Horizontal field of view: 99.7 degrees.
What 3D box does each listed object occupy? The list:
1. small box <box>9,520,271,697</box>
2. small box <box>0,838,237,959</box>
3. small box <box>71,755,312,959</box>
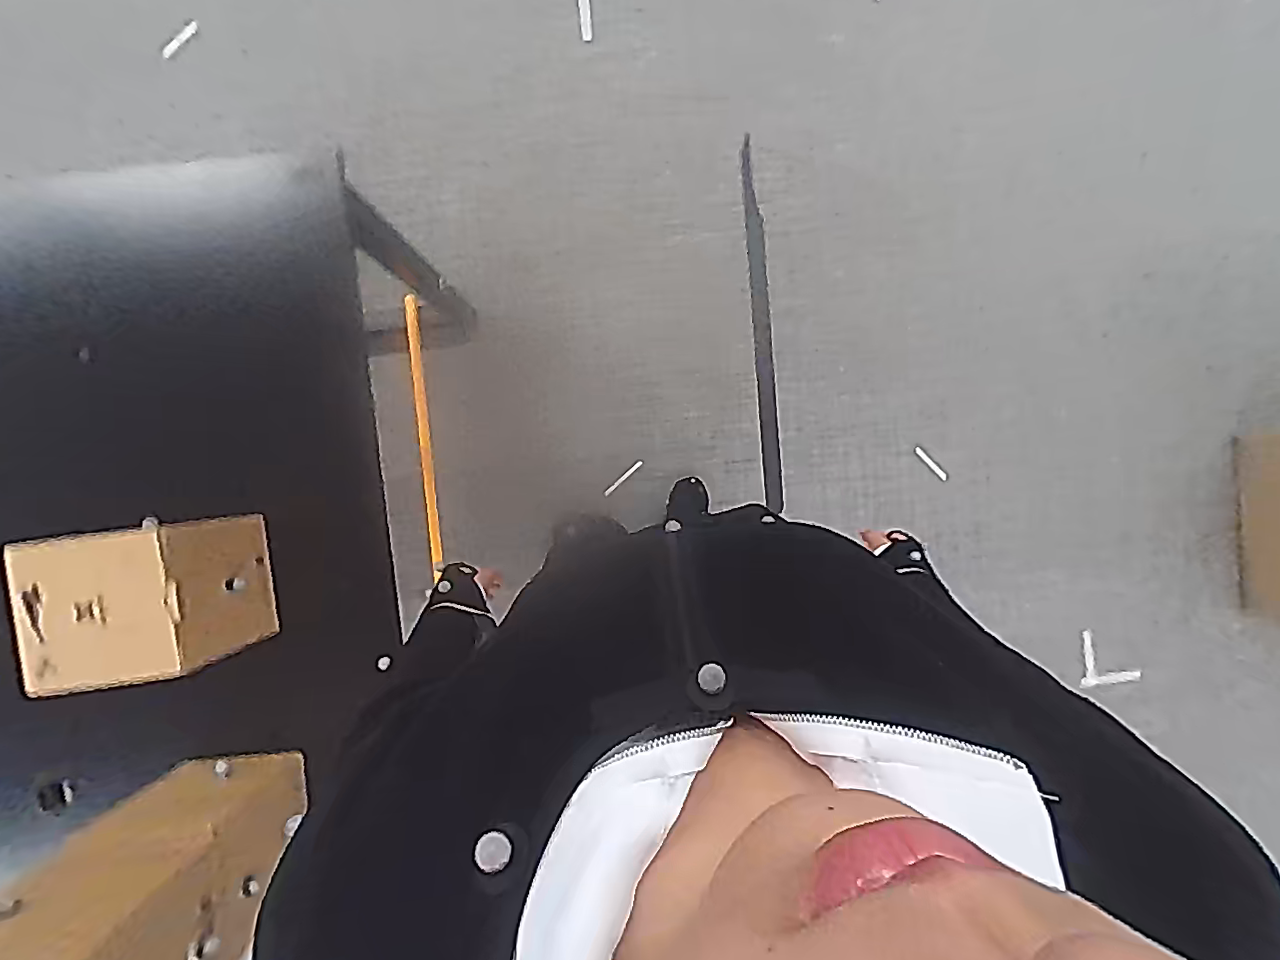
[{"bbox_3d":[-0.599,0.147,0.678,0.179,0.176,0.168,-8,91,-1],"label":"small box"},{"bbox_3d":[-0.539,0.485,0.520,0.179,0.176,0.168,-6,92,-2],"label":"small box"},{"bbox_3d":[-0.544,0.481,0.682,0.168,0.176,0.179,-5,90,-1],"label":"small box"}]
